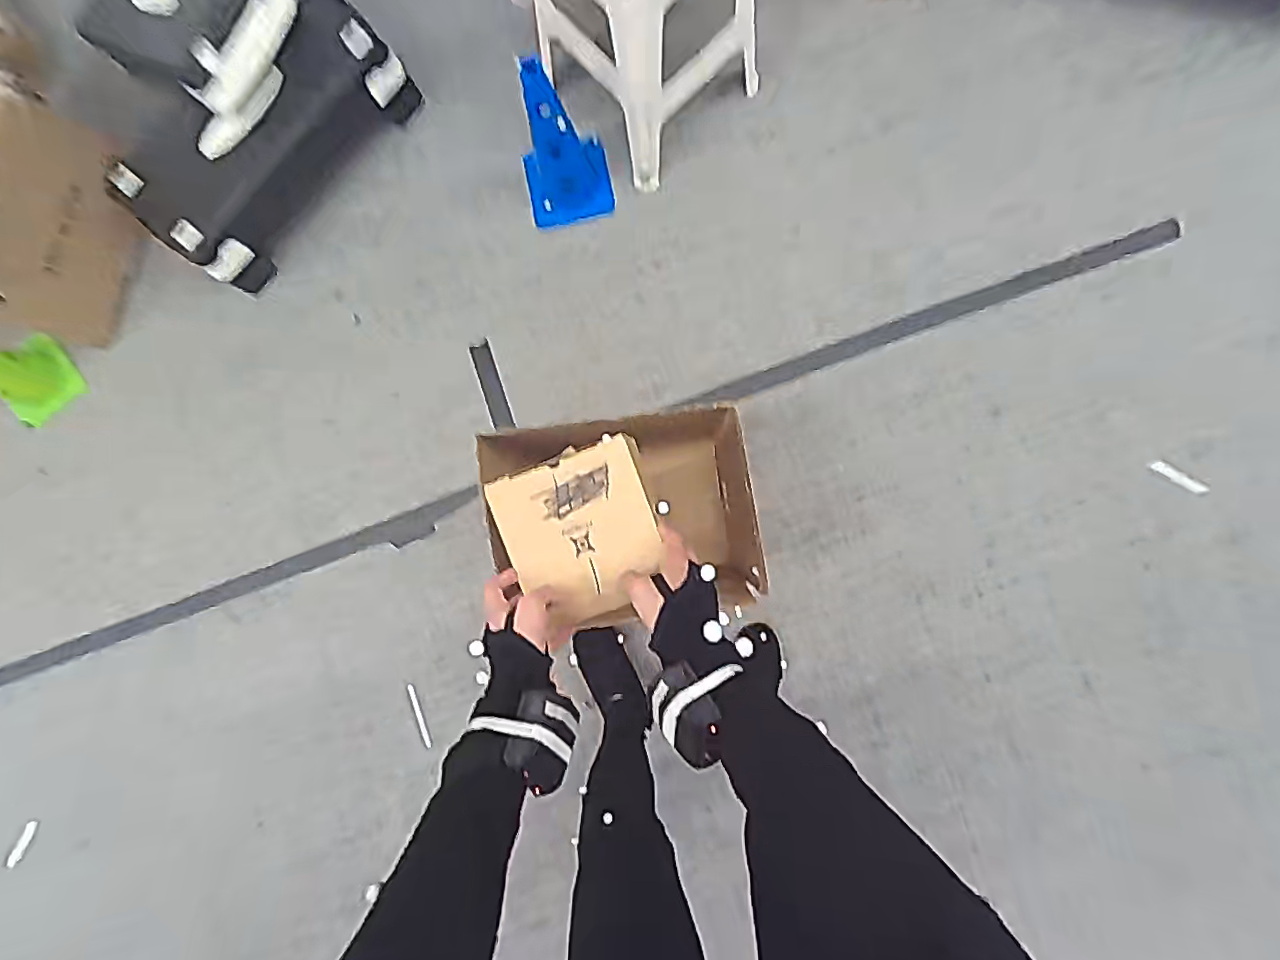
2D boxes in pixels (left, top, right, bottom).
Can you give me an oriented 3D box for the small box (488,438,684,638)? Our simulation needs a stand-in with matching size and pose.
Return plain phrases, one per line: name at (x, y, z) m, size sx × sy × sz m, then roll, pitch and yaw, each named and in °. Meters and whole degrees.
small box at (-0.055, 0.059, 0.650) m, size 0.168 × 0.176 × 0.179 m, roll -20°, pitch 92°, yaw 4°
